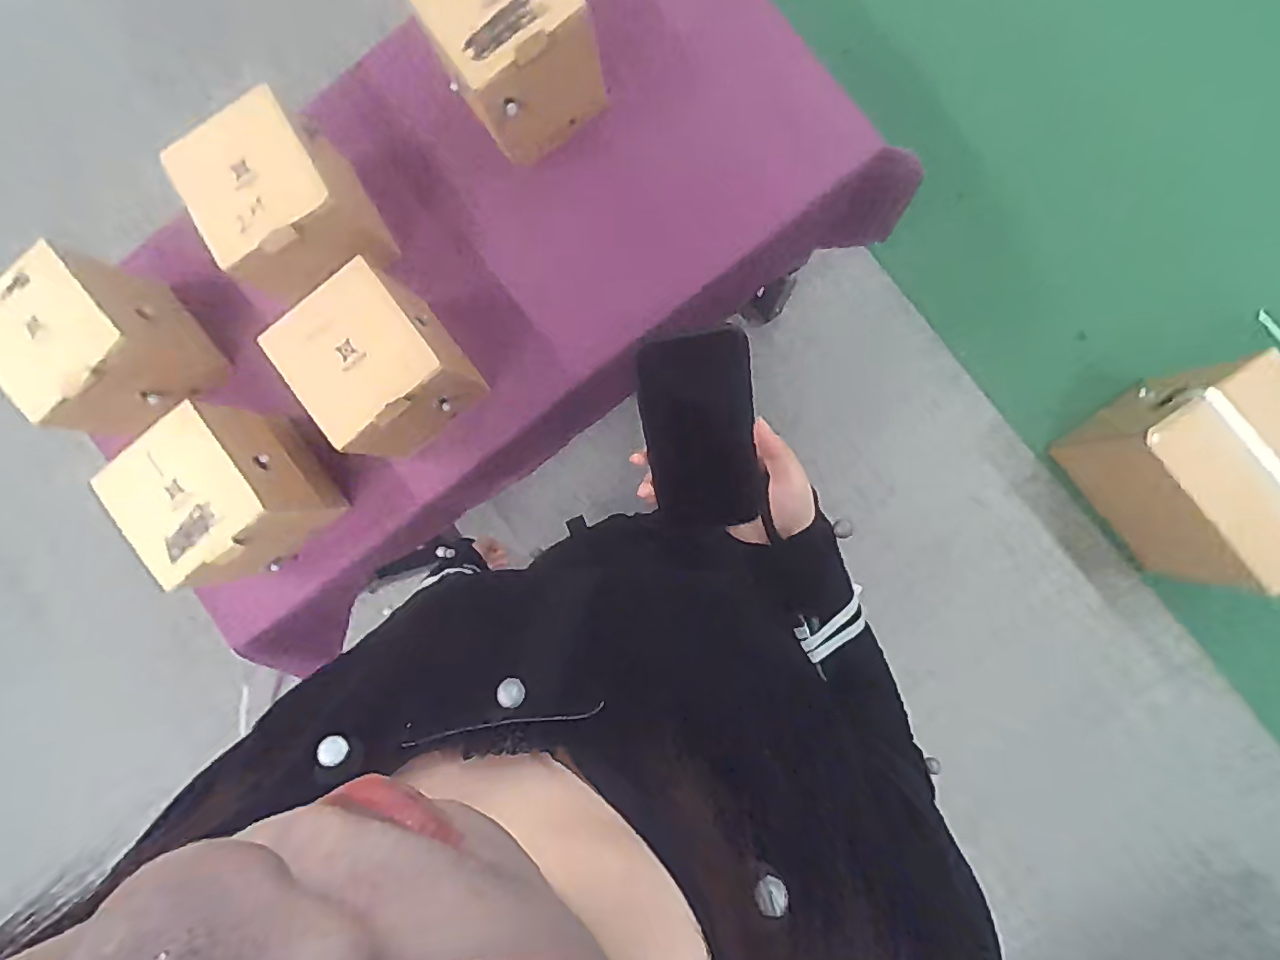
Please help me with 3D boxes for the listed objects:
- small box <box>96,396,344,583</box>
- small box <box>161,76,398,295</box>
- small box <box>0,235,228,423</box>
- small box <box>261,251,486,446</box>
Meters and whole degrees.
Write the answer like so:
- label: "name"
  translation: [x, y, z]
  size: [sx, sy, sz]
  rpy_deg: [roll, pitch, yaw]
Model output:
- label: "small box"
  translation: [-0.554, 0.012, 0.739]
  size: [0.168, 0.176, 0.179]
  rpy_deg: [-38, 85, 3]
- label: "small box"
  translation: [-0.472, -0.376, 0.735]
  size: [0.168, 0.176, 0.179]
  rpy_deg: [-30, 88, 4]
- label: "small box"
  translation: [-0.742, -0.193, 0.757]
  size: [0.168, 0.176, 0.179]
  rpy_deg: [-41, 88, 3]
- label: "small box"
  translation: [-0.338, -0.158, 0.724]
  size: [0.168, 0.176, 0.179]
  rpy_deg: [-37, 86, 3]
